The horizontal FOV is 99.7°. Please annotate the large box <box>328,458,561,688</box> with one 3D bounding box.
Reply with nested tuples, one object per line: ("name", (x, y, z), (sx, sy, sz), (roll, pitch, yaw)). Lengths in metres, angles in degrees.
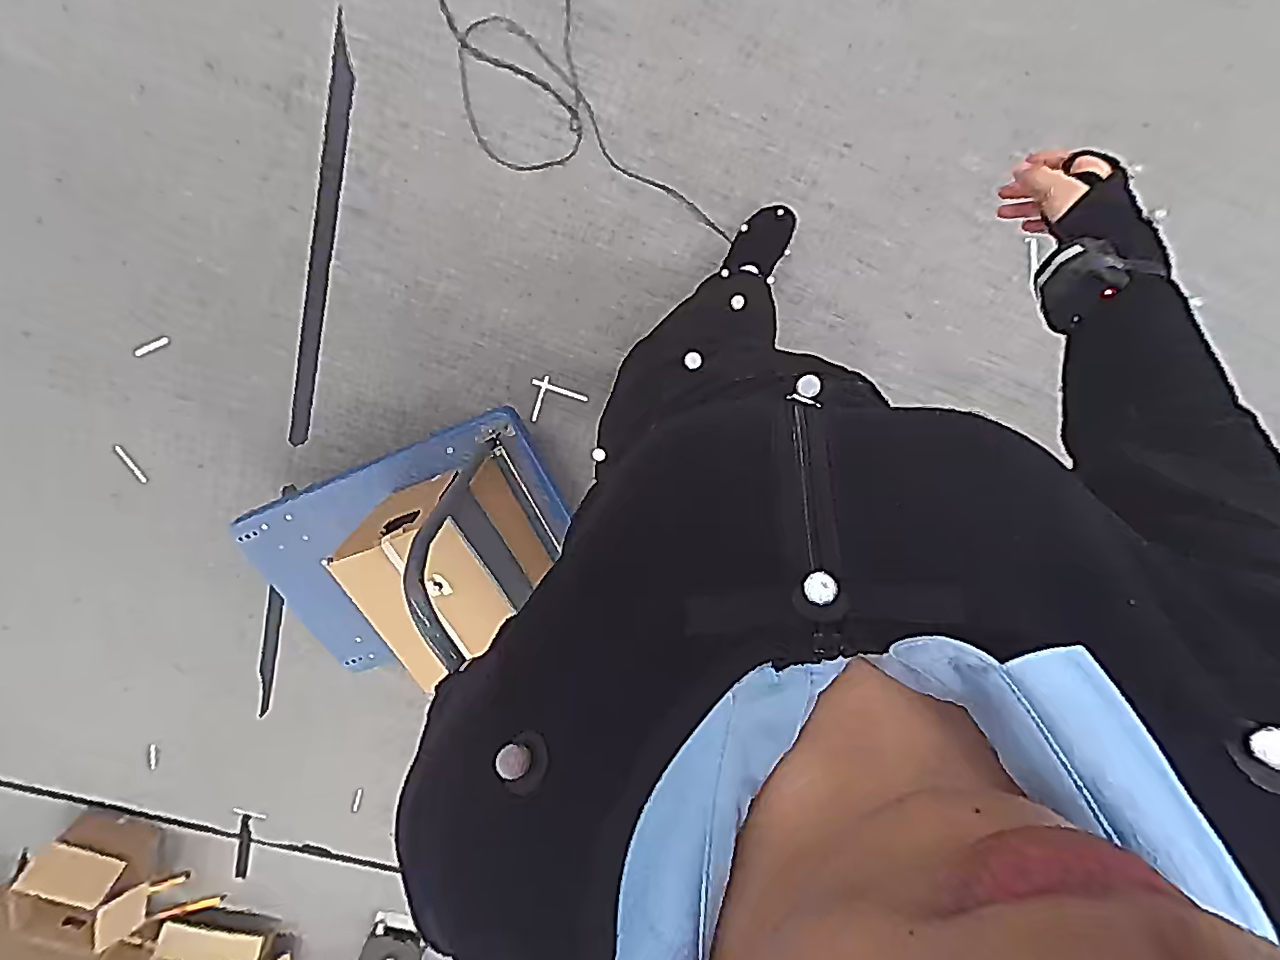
("large box", (-0.436, 0.220, 1.317), (0.320, 0.320, 0.408), (-21, 113, 10))
